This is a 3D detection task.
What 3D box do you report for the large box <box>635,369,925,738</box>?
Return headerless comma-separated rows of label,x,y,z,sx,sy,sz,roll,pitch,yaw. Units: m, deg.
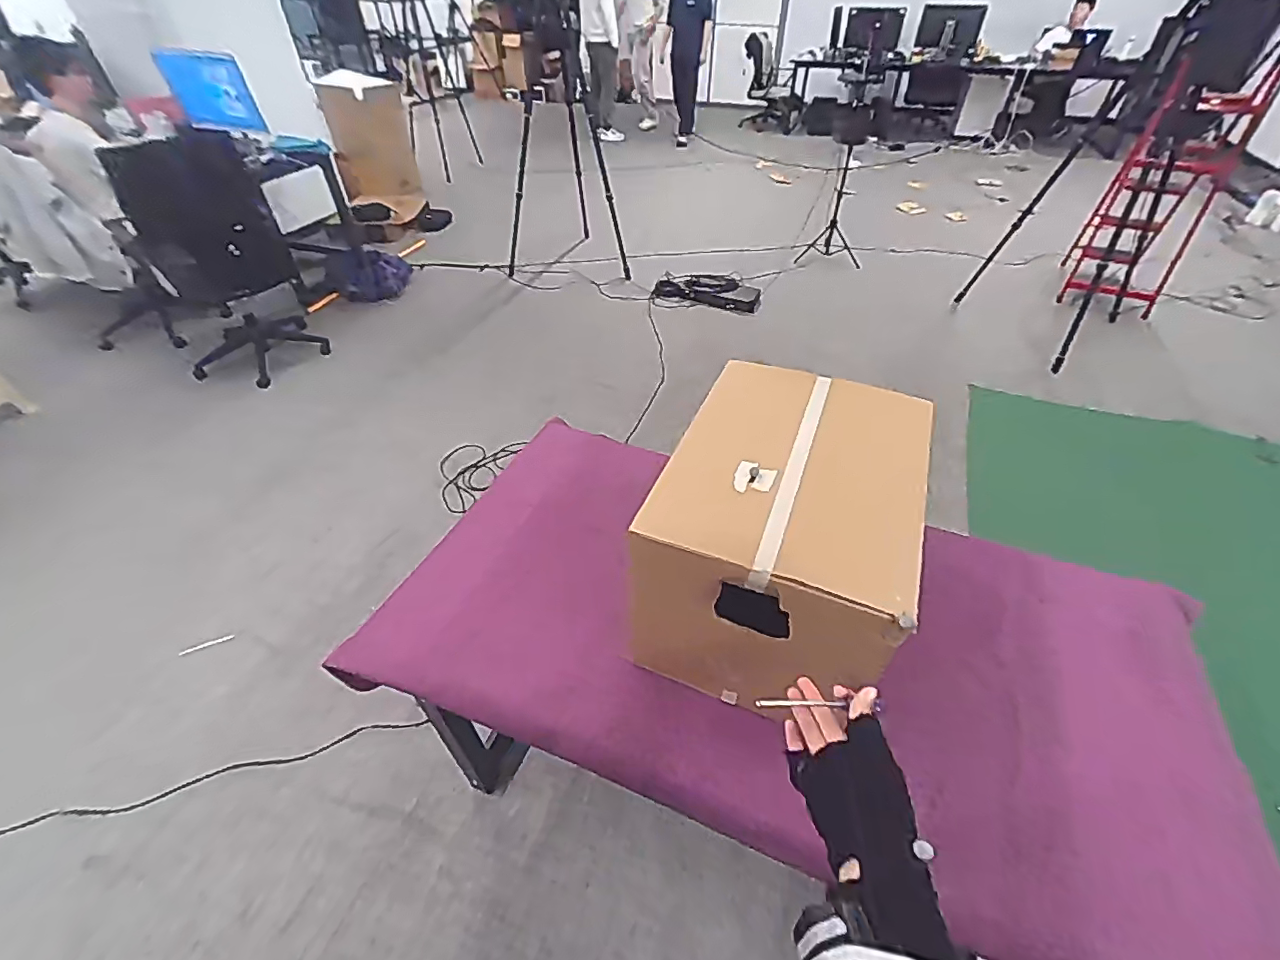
large box,0.208,0.092,0.825,0.320,0.320,0.408,17,47,17
